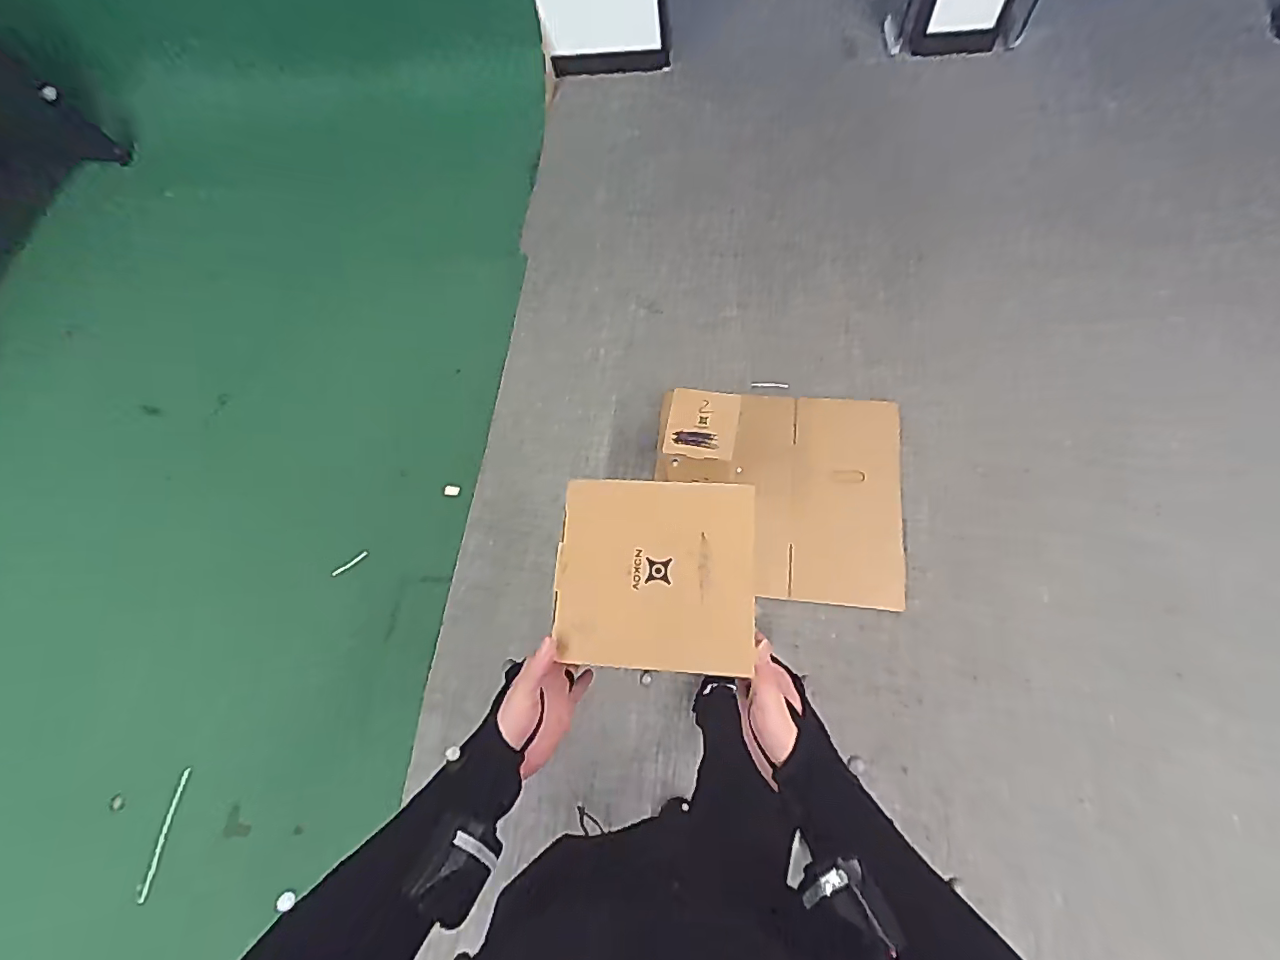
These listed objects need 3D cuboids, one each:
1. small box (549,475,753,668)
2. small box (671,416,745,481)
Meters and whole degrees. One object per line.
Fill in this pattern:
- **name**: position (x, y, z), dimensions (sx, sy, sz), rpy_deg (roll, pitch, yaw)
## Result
- **small box**: position (0.022, 0.100, 0.556), dimensions (0.179, 0.176, 0.168), rpy_deg (2, 73, 8)
- **small box**: position (0.192, -0.063, 1.515), dimensions (0.179, 0.176, 0.168), rpy_deg (9, 73, 11)
